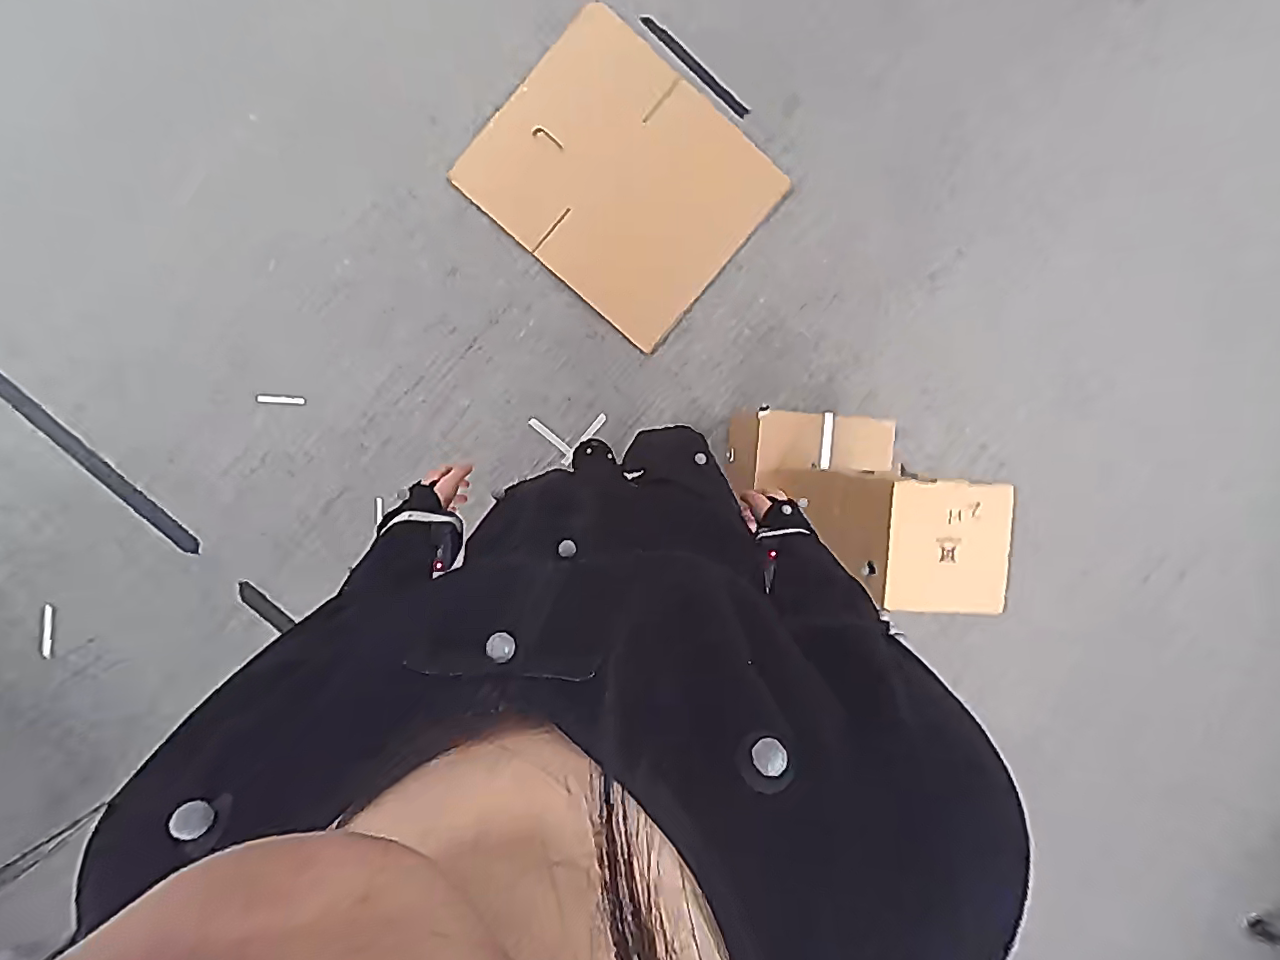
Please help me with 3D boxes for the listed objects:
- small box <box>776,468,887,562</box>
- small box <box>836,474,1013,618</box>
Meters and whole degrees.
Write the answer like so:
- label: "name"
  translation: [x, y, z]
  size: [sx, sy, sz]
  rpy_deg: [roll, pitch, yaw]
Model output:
- label: "small box"
  translation: [0.389, 0.067, 1.122]
  size: [0.168, 0.176, 0.179]
  rpy_deg: [2, 95, -2]
- label: "small box"
  translation: [0.402, 0.088, 0.794]
  size: [0.168, 0.176, 0.179]
  rpy_deg: [3, 94, -3]
